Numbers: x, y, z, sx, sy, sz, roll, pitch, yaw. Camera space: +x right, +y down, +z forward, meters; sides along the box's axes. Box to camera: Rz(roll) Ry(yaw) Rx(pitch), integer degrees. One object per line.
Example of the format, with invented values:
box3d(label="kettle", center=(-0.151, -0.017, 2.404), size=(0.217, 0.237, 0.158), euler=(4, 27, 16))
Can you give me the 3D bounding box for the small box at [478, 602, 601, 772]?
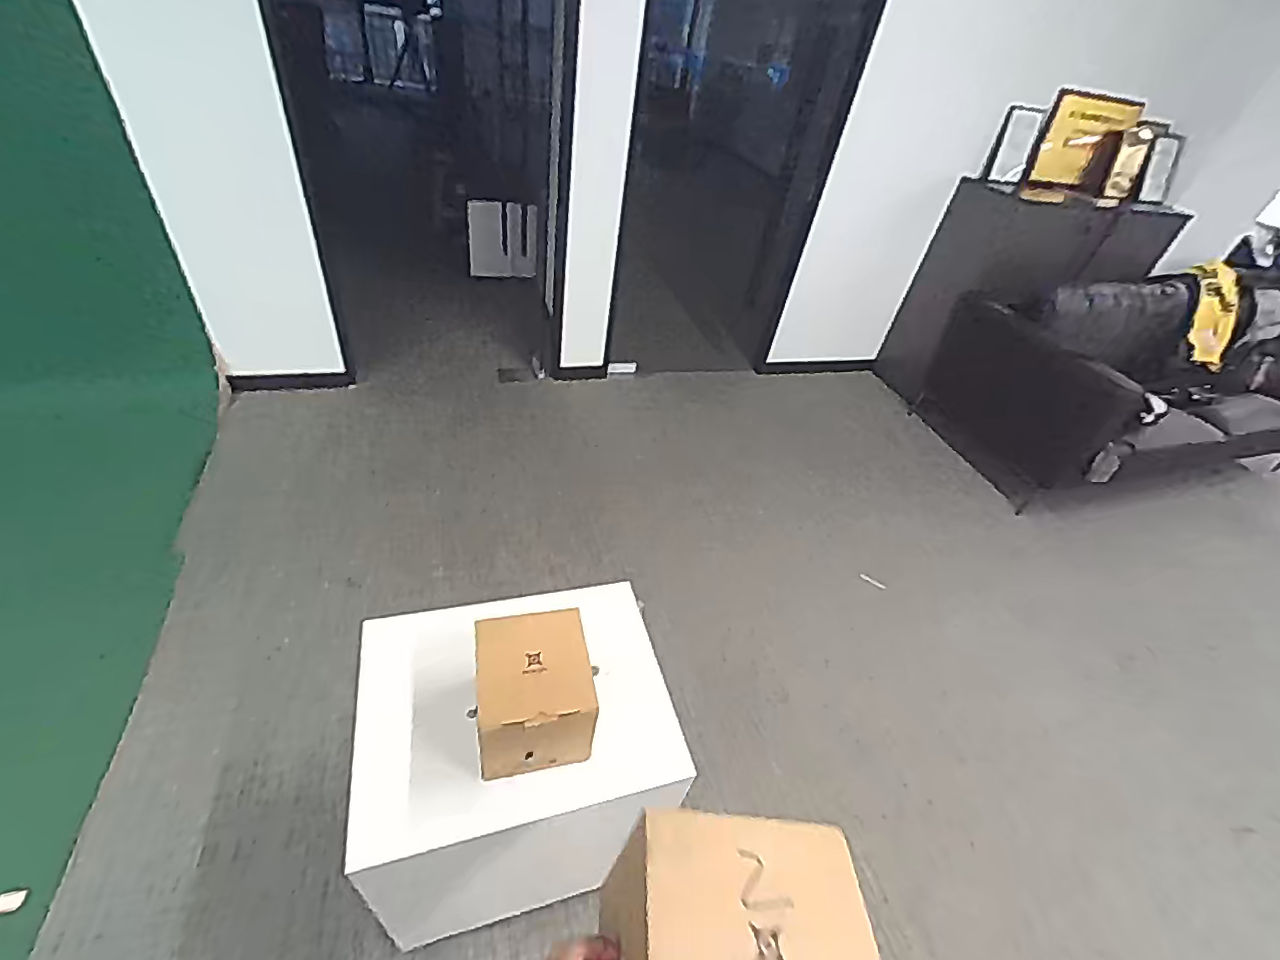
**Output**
box3d(label="small box", center=(-0.163, 0.317, 0.839), size=(0.168, 0.176, 0.179), euler=(-4, 42, -16))
